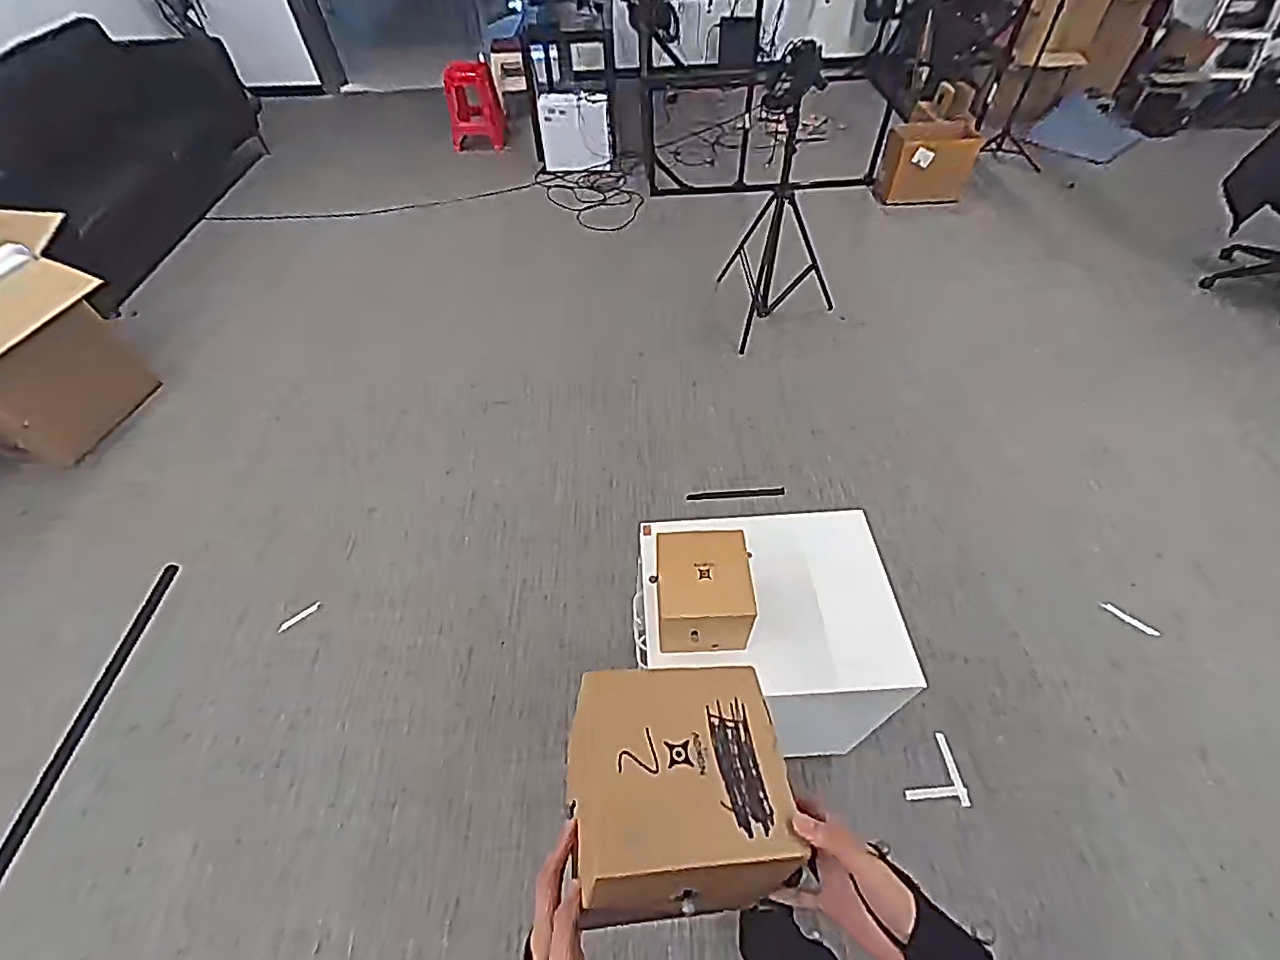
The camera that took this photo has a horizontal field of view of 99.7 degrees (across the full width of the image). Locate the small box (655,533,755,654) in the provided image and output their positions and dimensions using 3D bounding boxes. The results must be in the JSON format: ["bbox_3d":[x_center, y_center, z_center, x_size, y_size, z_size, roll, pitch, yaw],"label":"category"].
[{"bbox_3d":[0.115,0.221,1.022,0.168,0.176,0.179,-3,51,0],"label":"small box"}]
